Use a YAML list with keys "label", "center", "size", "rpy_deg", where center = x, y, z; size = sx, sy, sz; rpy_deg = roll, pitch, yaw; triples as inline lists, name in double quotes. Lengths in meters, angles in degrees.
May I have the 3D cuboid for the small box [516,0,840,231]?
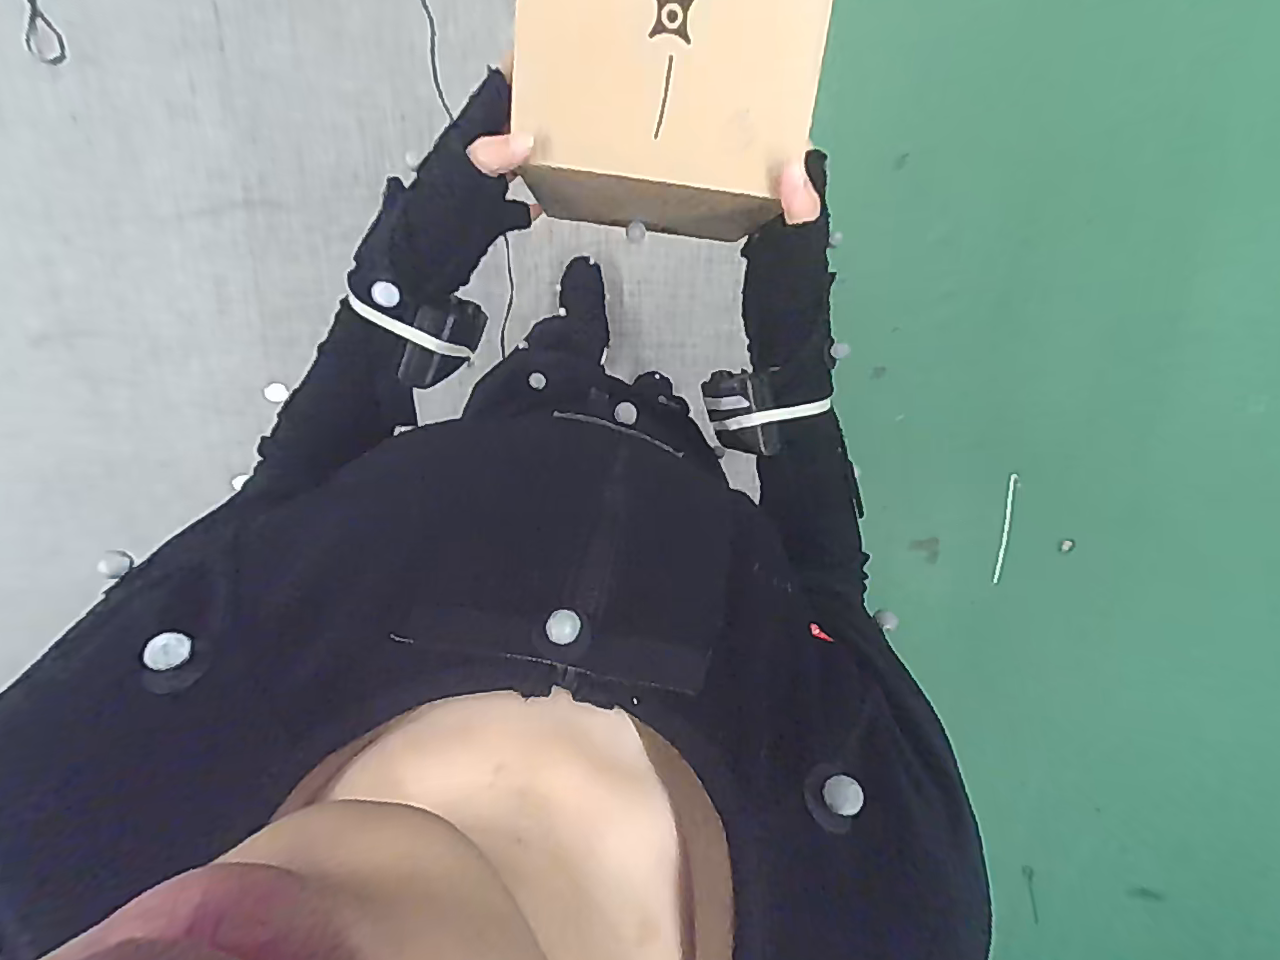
- label: "small box"
  center: [0.020, -0.281, 0.355]
  size: [0.168, 0.176, 0.179]
  rpy_deg: [6, 106, -4]
